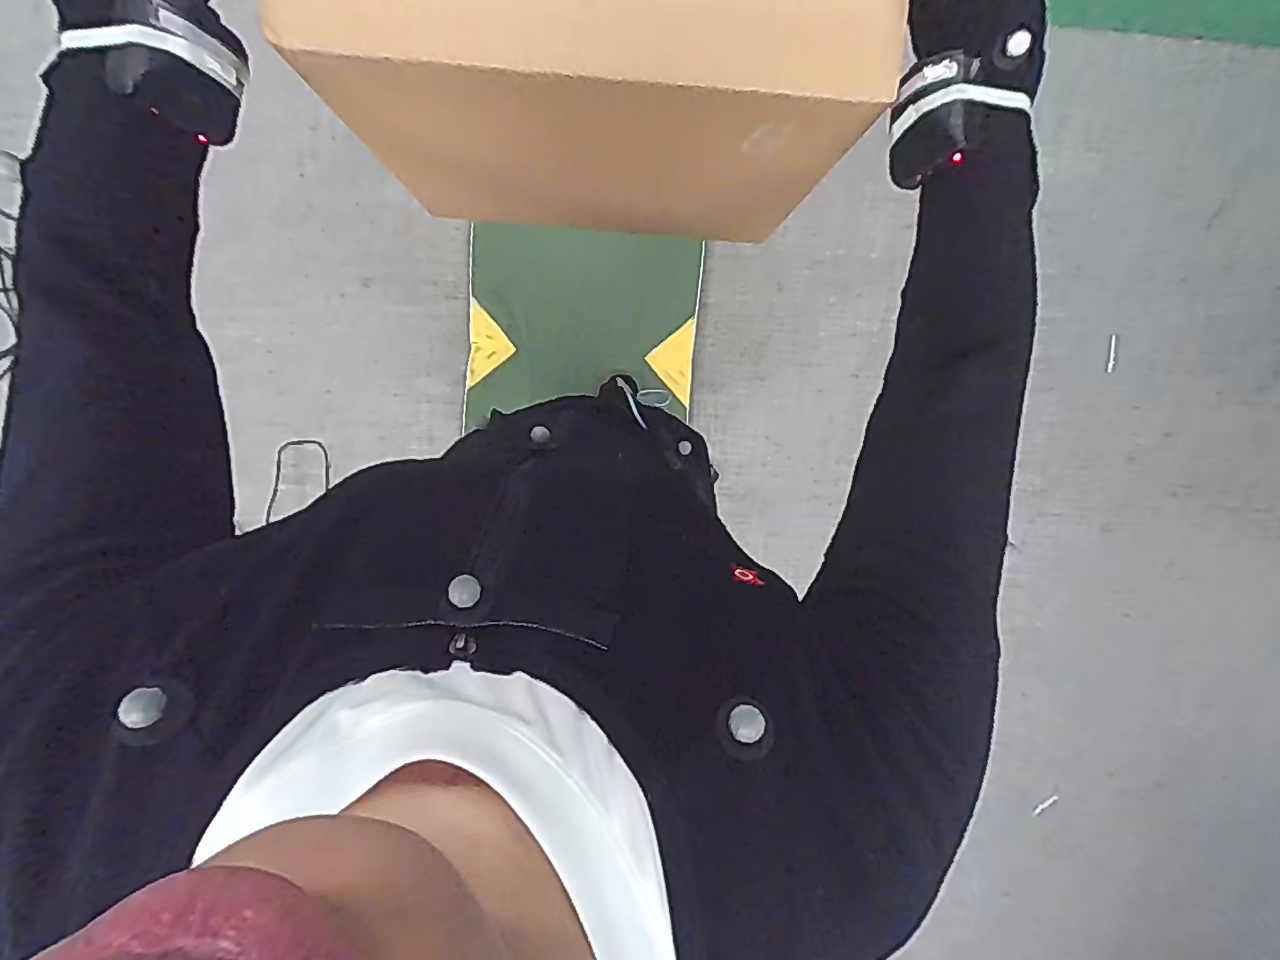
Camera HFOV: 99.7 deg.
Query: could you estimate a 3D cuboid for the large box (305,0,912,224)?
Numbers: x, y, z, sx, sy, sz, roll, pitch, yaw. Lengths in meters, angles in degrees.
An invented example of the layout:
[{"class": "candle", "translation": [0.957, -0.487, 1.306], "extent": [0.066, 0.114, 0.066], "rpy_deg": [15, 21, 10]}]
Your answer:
[{"class": "large box", "translation": [-0.021, -0.446, 0.483], "extent": [0.408, 0.320, 0.320], "rpy_deg": [2, 99, -4]}]
